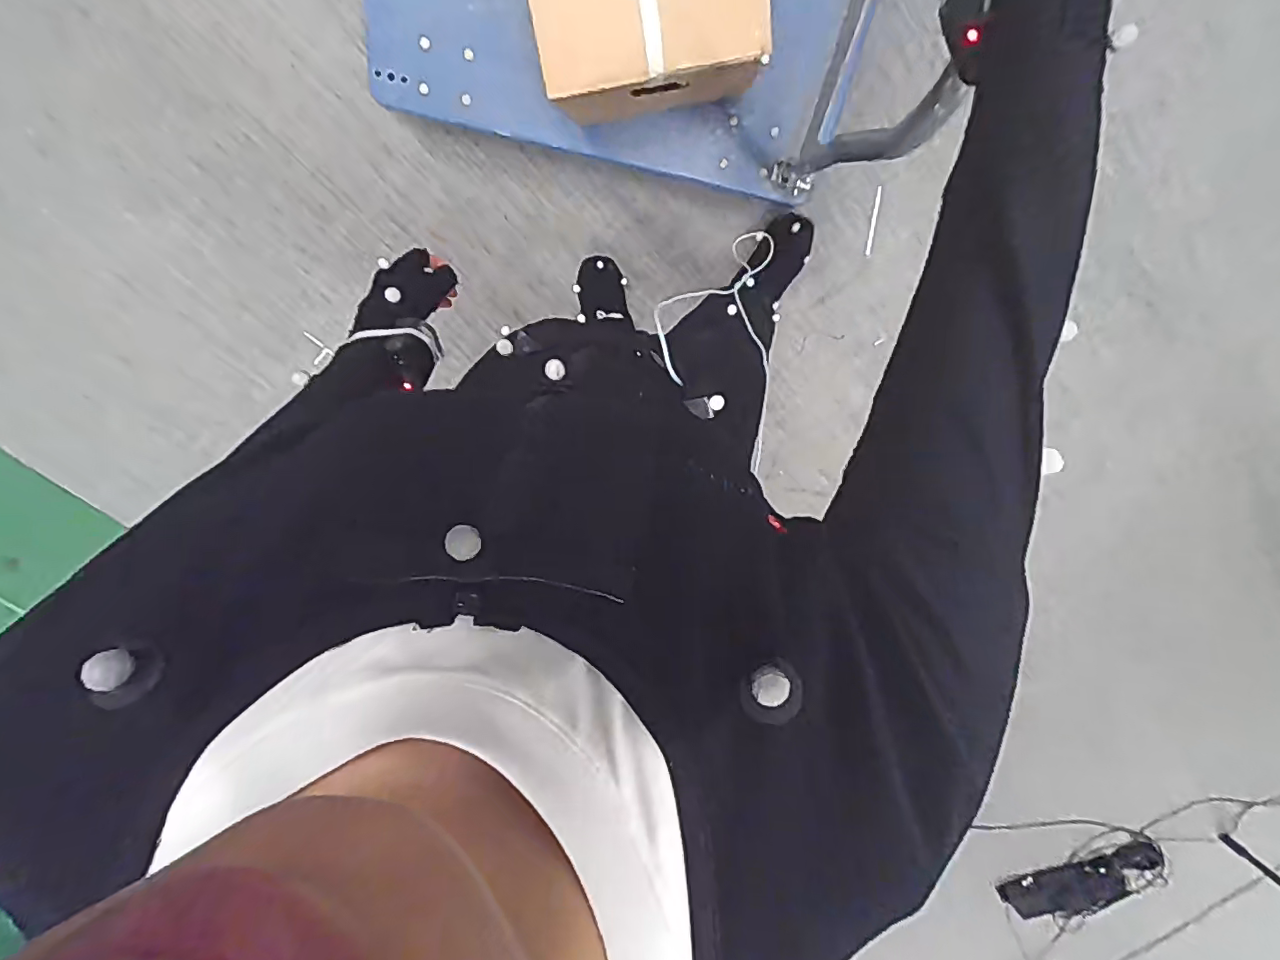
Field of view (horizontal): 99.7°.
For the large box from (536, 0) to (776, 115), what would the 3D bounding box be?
[{"bbox_3d":[0.005,-0.804,0.778,0.320,0.320,0.408,-6,118,6],"label":"large box"}]
